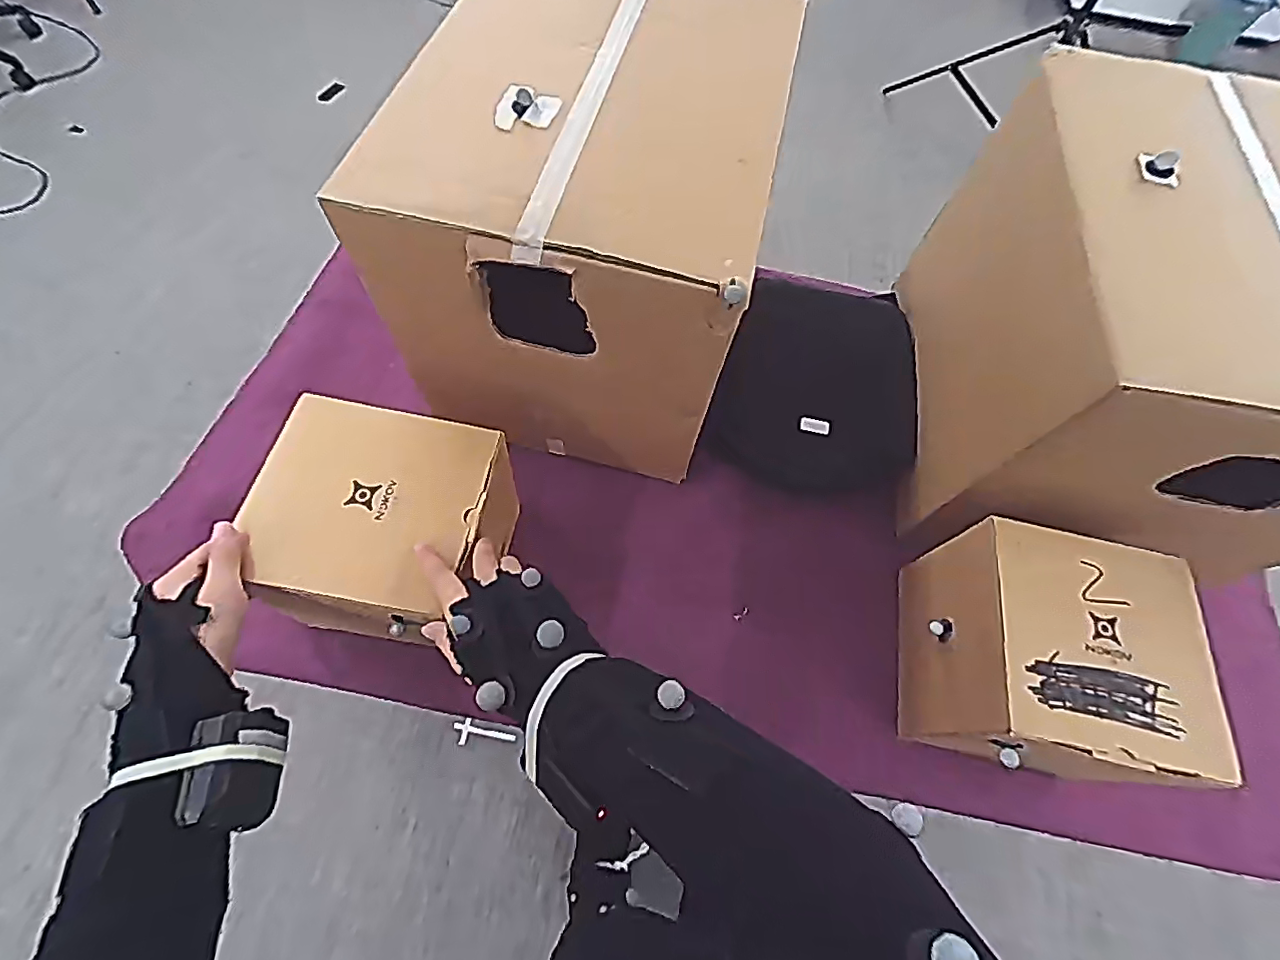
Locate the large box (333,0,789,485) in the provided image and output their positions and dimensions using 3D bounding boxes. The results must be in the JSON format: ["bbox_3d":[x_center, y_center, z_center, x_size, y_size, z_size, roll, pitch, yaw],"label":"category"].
[{"bbox_3d":[-0.048,-0.259,0.604,0.320,0.320,0.408,13,66,3],"label":"large box"}]

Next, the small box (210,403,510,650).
[{"bbox_3d":[-0.233,0.055,0.509,0.179,0.176,0.168,11,62,-3],"label":"small box"}]
